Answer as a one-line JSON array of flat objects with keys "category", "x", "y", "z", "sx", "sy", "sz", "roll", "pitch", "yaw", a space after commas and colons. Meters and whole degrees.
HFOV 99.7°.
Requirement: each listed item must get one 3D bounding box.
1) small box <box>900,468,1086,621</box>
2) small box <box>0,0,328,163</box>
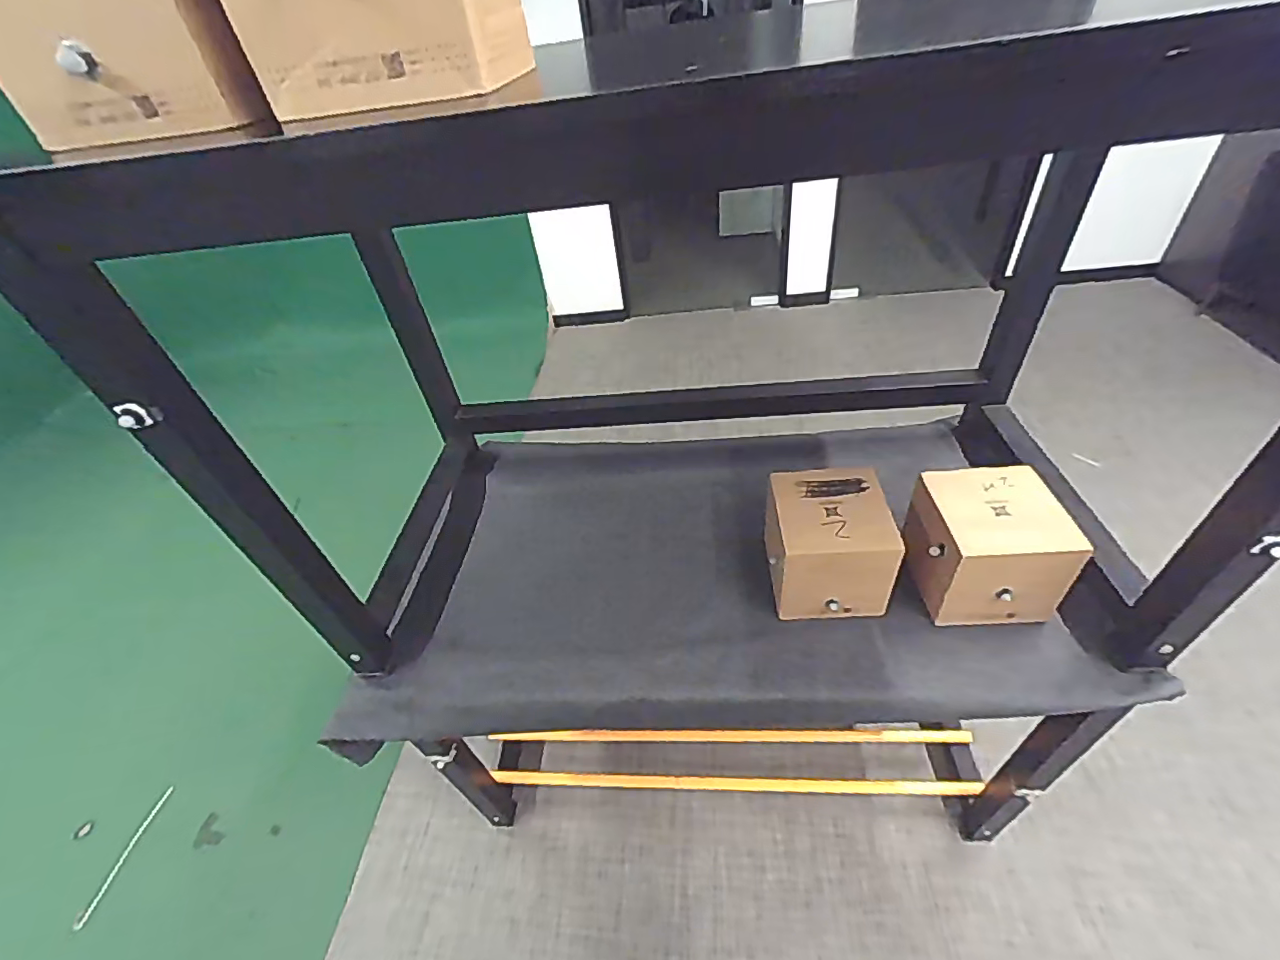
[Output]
[{"category": "small box", "x": 0.526, "y": 0.105, "z": 0.836, "sx": 0.168, "sy": 0.176, "sz": 0.179, "roll": -4, "pitch": 40, "yaw": 6}, {"category": "small box", "x": -0.391, "y": -0.371, "z": 0.435, "sx": 0.168, "sy": 0.176, "sz": 0.179, "roll": -4, "pitch": 43, "yaw": 6}]
